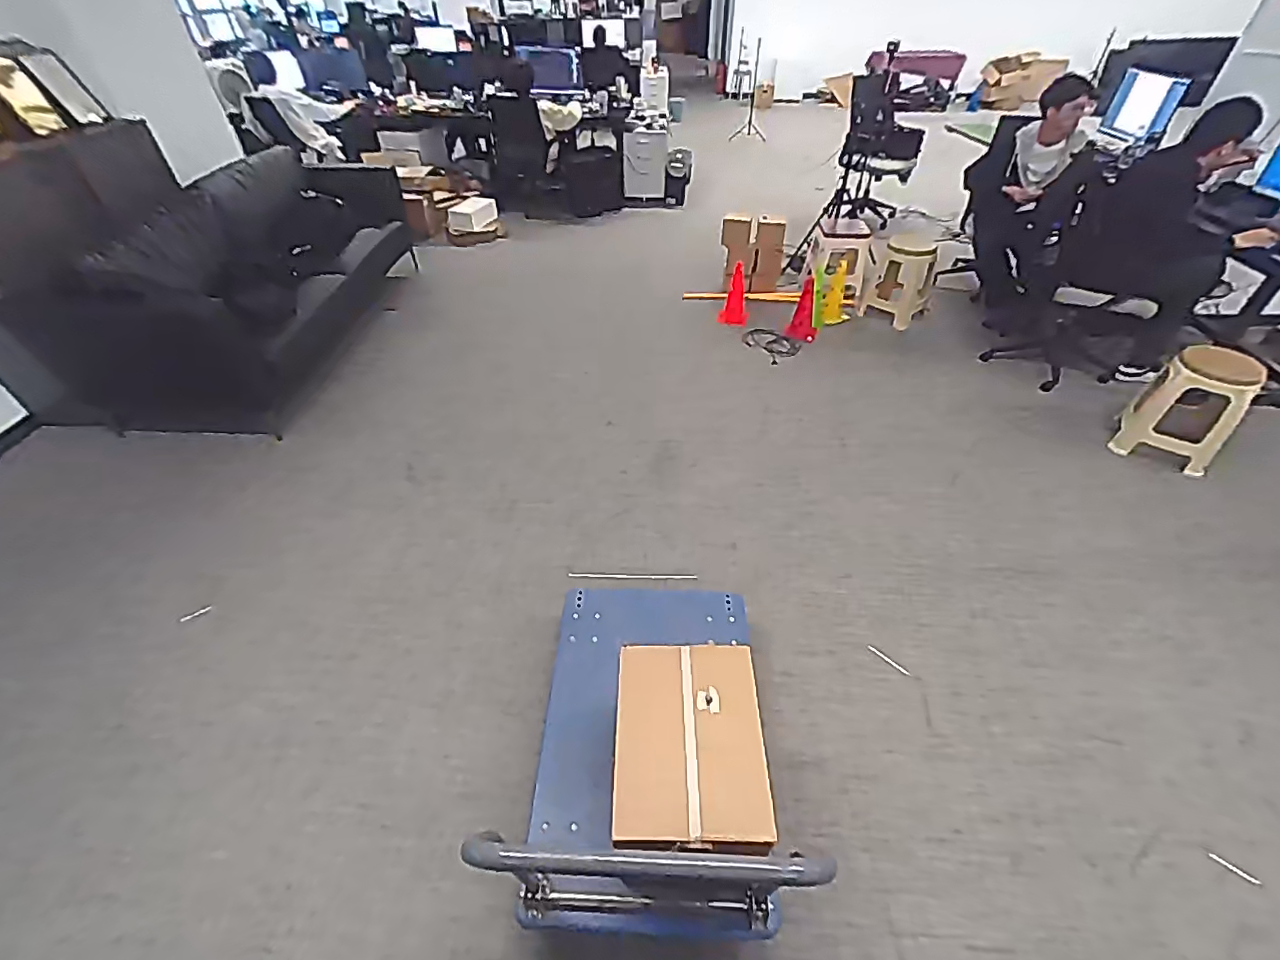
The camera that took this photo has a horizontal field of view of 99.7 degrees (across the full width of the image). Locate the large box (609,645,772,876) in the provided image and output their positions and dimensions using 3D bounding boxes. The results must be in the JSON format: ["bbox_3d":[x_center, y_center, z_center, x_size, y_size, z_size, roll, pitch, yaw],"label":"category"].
[{"bbox_3d":[0.098,0.641,1.250,0.320,0.320,0.408,1,43,1],"label":"large box"}]
